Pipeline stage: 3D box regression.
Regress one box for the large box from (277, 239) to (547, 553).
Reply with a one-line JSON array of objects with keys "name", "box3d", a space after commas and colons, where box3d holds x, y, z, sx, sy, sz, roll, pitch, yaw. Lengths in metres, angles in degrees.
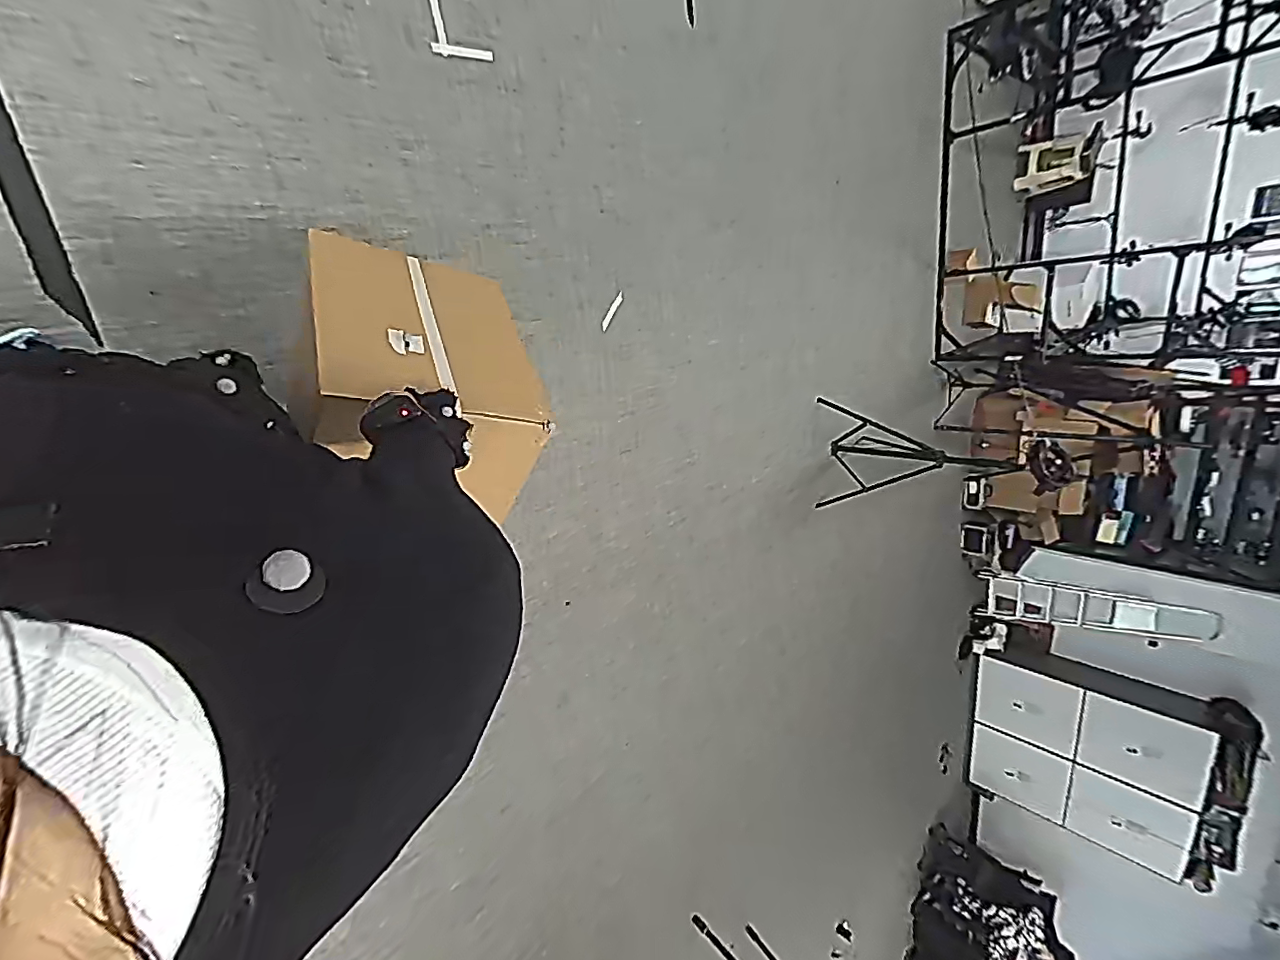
[{"name": "large box", "box3d": [-0.412, -0.128, 0.925, 0.320, 0.408, 0.320, 4, 136, -38]}]
